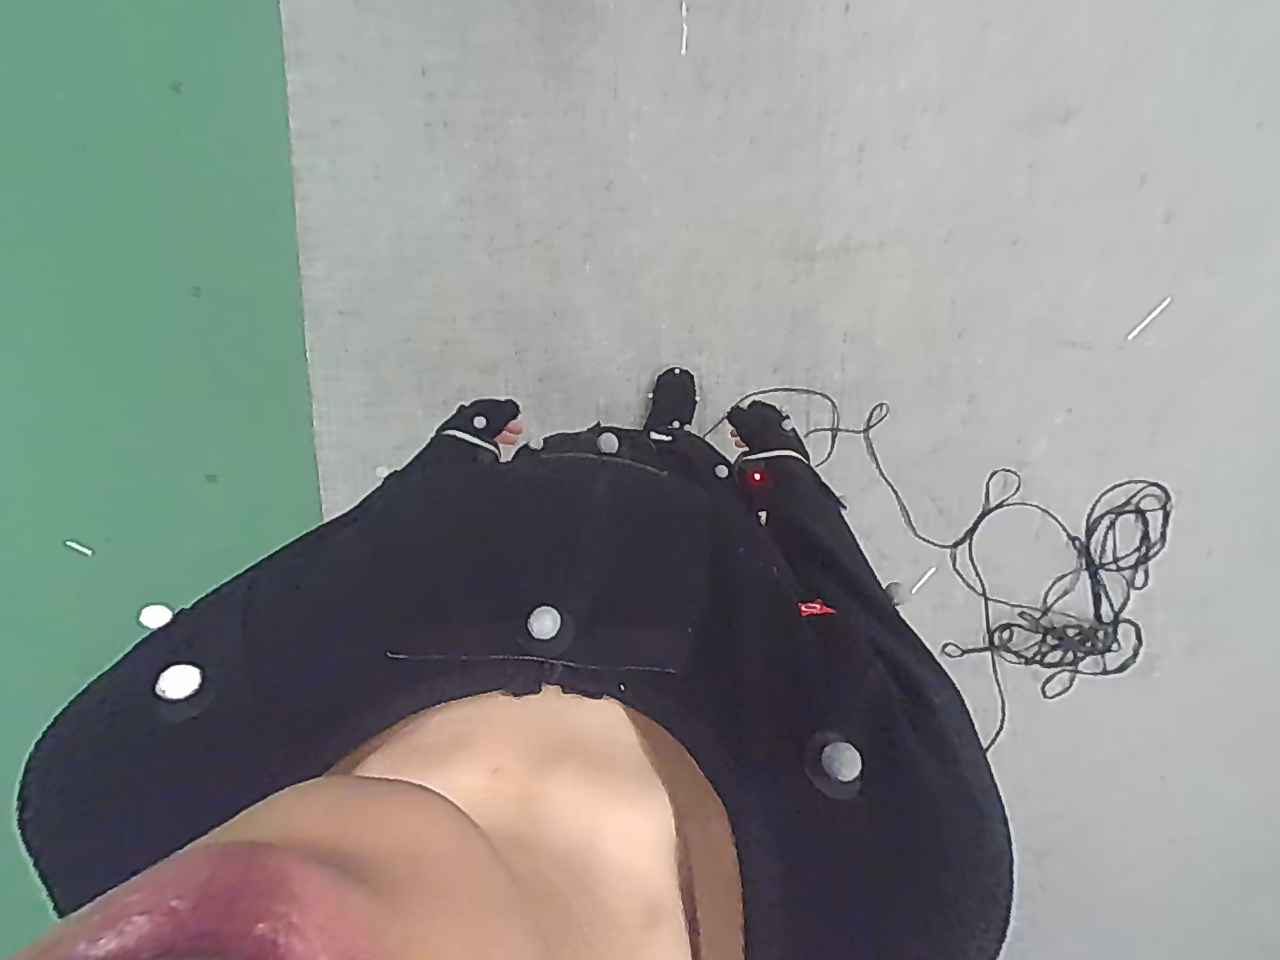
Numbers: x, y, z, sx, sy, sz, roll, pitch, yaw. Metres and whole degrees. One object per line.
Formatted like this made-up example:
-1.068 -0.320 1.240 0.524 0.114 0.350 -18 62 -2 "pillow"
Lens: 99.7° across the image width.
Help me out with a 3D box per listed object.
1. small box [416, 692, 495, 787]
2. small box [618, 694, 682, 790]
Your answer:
-0.503 0.712 1.493 0.168 0.176 0.179 1 96 0 "small box"
0.027 0.716 1.487 0.168 0.176 0.179 1 97 0 "small box"
